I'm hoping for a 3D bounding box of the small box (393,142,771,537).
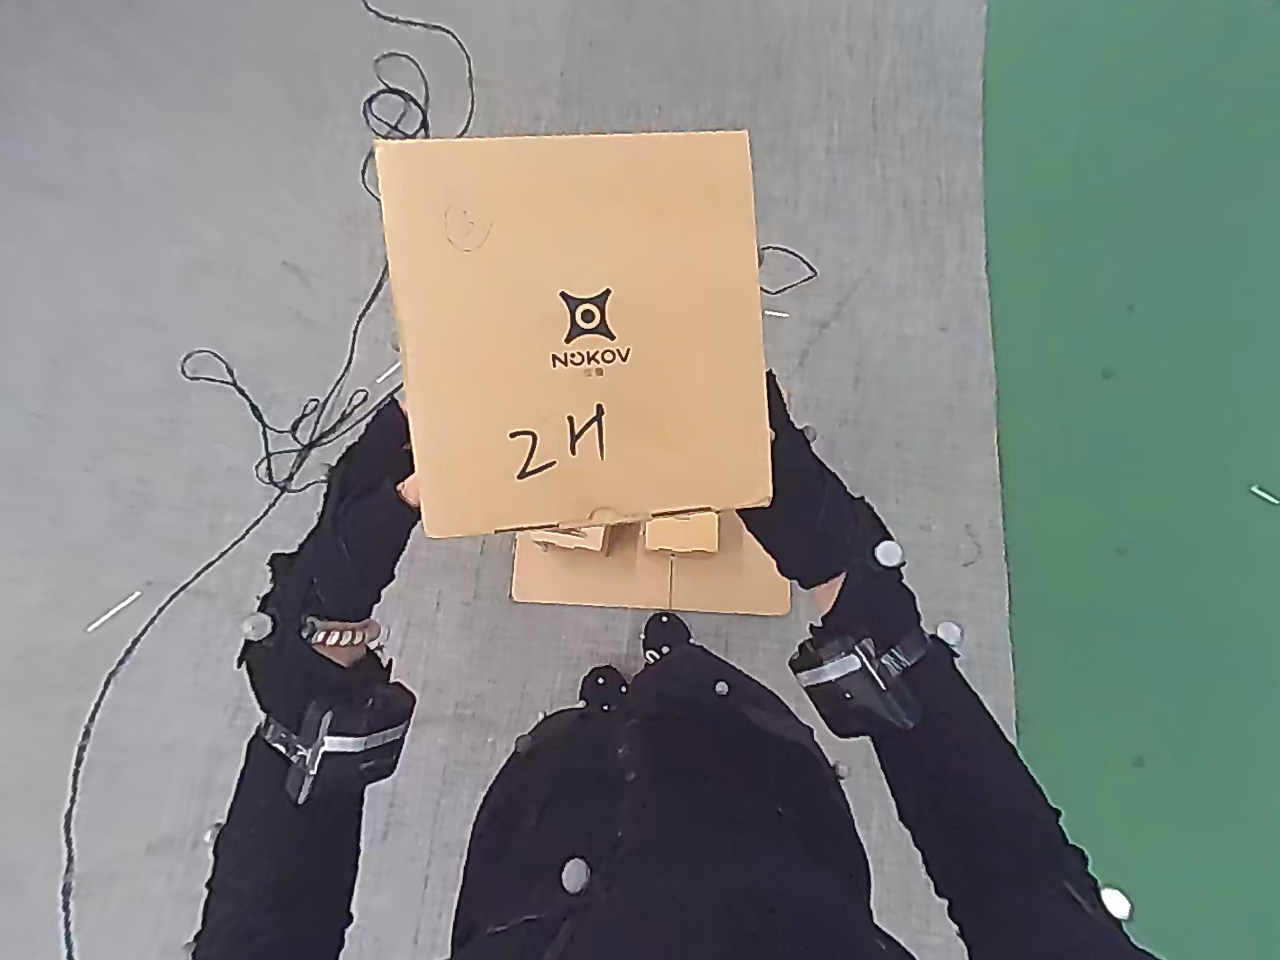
[{"bbox_3d":[-0.032,-0.072,0.331,0.168,0.176,0.179,-6,96,-6],"label":"small box"}]

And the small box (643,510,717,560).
[{"bbox_3d":[0.093,0.096,1.307,0.168,0.176,0.179,2,77,-1],"label":"small box"}]
